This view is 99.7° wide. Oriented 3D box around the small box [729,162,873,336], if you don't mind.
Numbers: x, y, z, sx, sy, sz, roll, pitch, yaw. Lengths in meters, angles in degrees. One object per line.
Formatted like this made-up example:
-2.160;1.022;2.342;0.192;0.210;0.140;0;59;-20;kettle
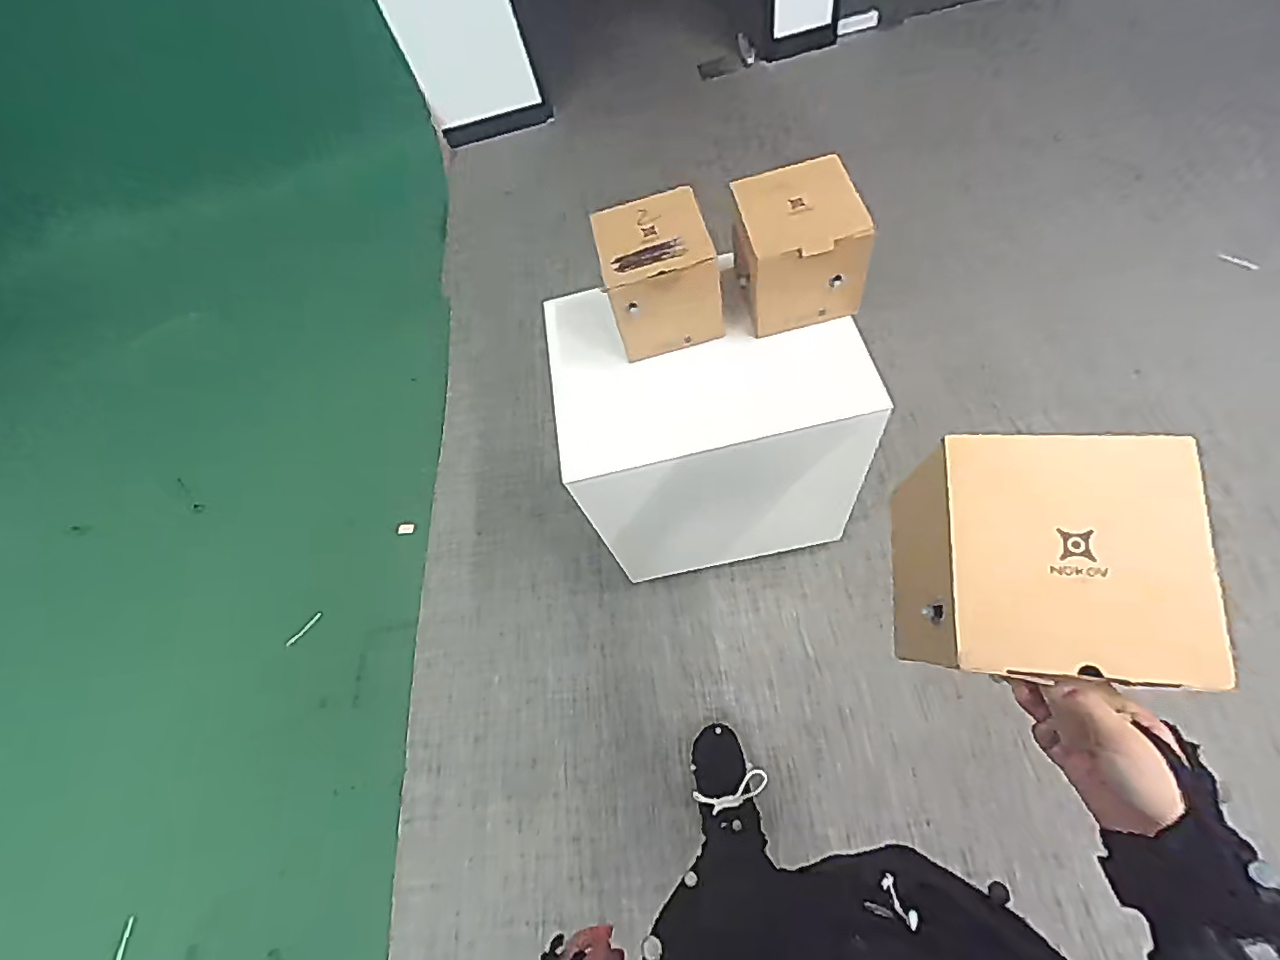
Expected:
0.241;-0.349;0.847;0.168;0.176;0.179;-13;61;5;small box

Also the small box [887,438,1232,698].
0.317;0.073;0.455;0.168;0.176;0.179;1;76;11;small box
